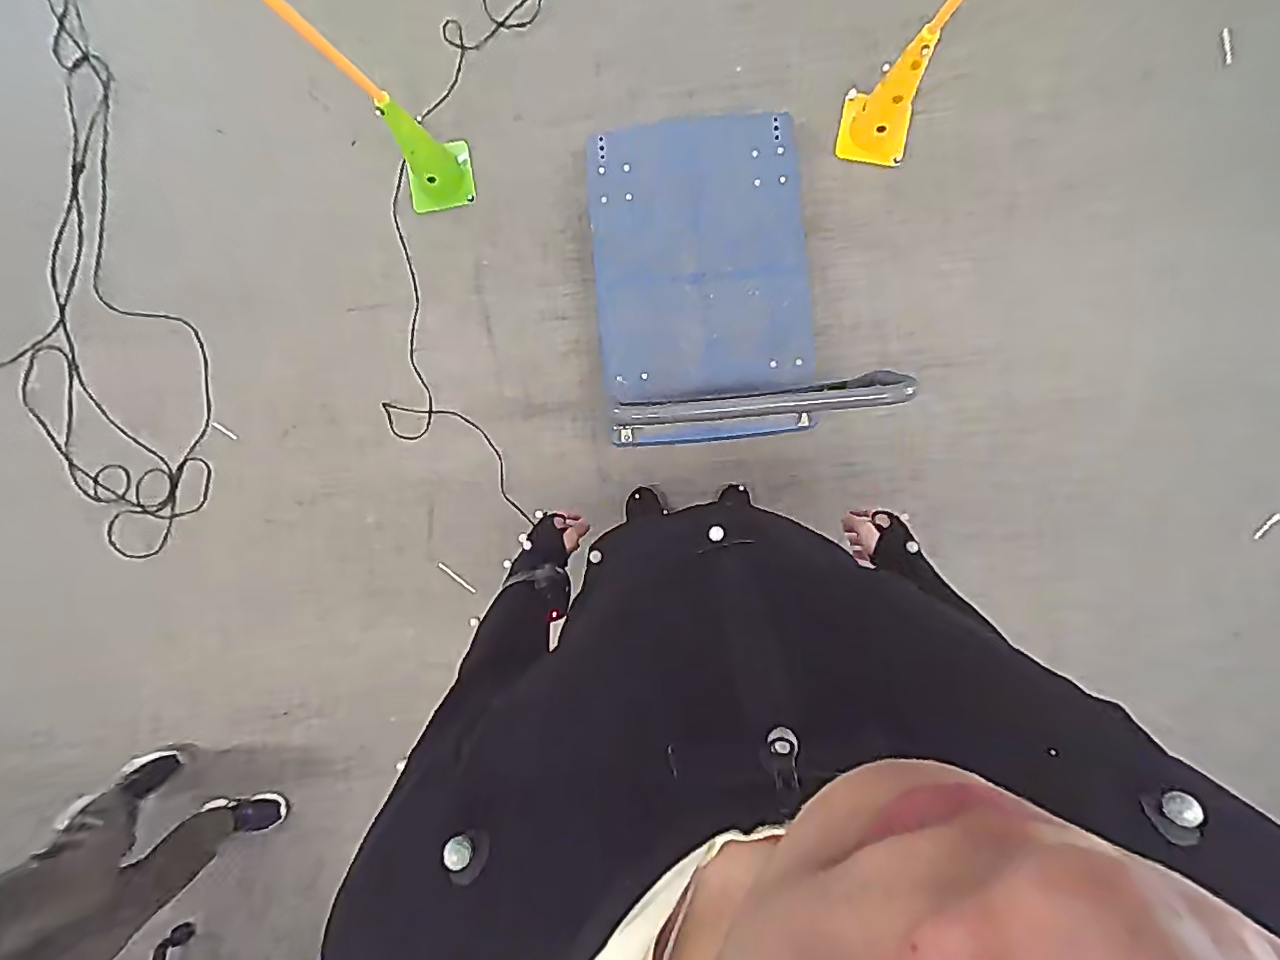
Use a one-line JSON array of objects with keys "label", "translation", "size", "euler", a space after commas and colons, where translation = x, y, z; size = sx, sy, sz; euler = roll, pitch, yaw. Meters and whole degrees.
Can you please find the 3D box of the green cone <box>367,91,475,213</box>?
[{"label": "green cone", "translation": [-0.634, -0.945, 1.508], "size": [0.202, 0.368, 0.200], "euler": [-10, 89, 5]}]
